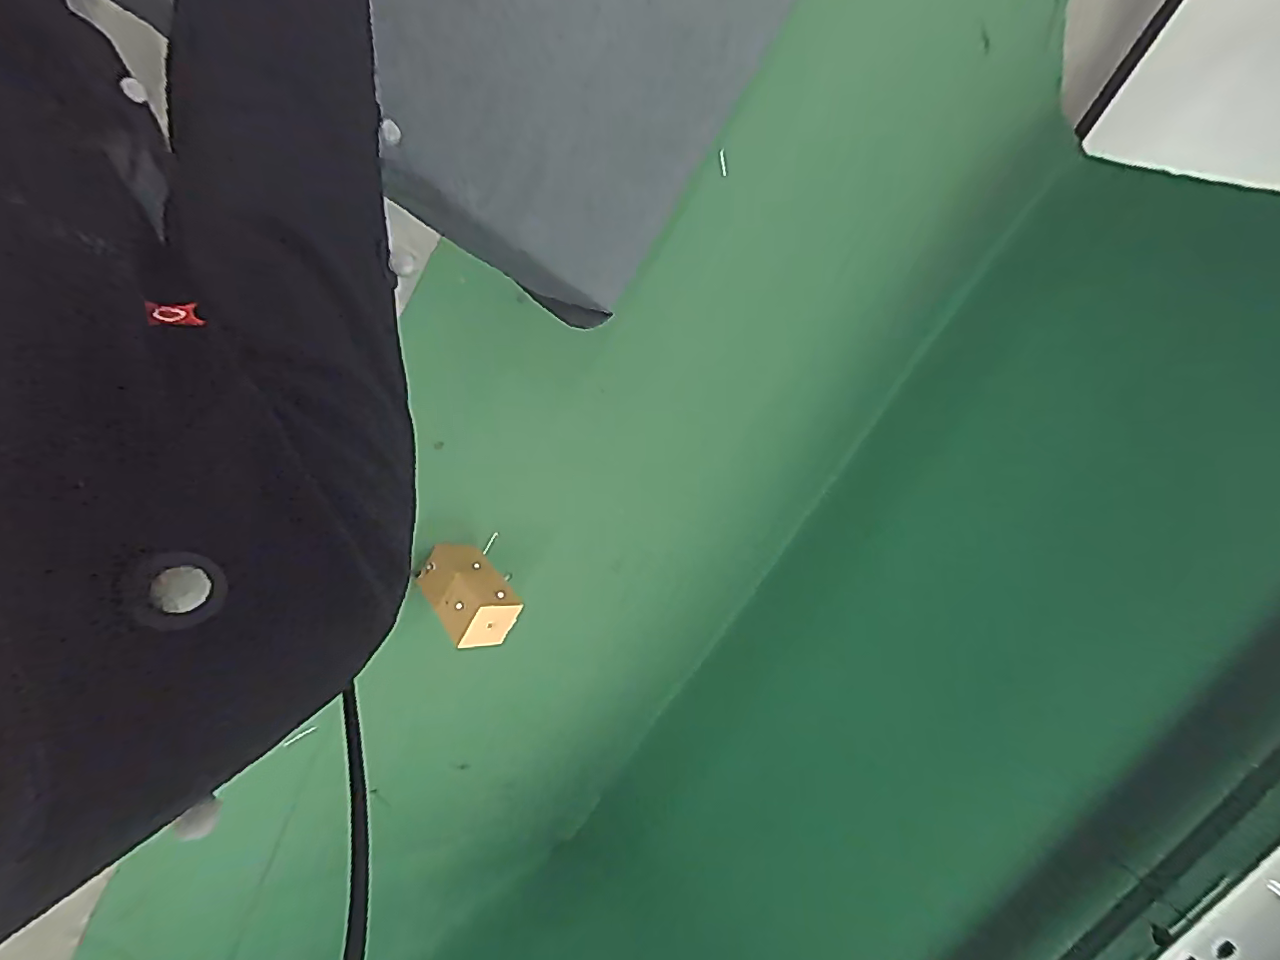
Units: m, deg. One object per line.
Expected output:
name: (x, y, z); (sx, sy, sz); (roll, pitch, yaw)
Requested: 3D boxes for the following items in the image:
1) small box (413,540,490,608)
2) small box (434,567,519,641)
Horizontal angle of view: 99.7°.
small box: (-0.642, 0.321, 1.857); (0.179, 0.176, 0.168); (17, 108, -52)
small box: (-0.537, 0.398, 1.759); (0.179, 0.176, 0.168); (14, 110, -54)
